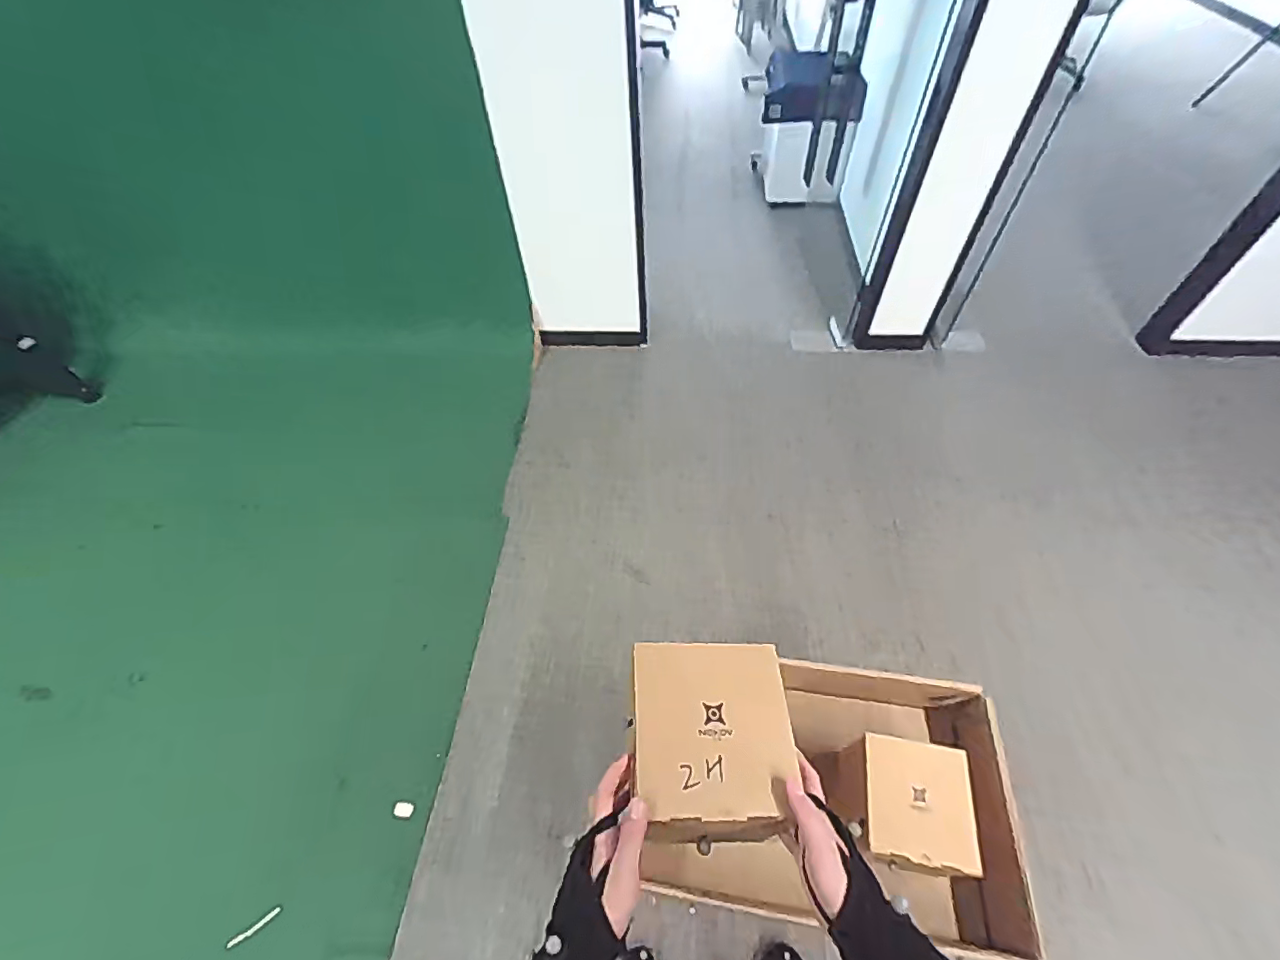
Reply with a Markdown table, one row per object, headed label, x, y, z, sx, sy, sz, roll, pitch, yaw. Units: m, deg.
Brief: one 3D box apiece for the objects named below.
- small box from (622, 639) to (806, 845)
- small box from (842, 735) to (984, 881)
| label | x | y | z | sx | sy | sz | roll | pitch | yaw |
| --- | --- | --- | --- | --- | --- | --- | --- | --- | --- |
| small box | 0.066 | 0.299 | 0.615 | 0.168 | 0.176 | 0.179 | 2 | 50 | -5 |
| small box | 0.452 | 0.563 | 0.927 | 0.168 | 0.176 | 0.179 | 8 | 54 | 8 |
